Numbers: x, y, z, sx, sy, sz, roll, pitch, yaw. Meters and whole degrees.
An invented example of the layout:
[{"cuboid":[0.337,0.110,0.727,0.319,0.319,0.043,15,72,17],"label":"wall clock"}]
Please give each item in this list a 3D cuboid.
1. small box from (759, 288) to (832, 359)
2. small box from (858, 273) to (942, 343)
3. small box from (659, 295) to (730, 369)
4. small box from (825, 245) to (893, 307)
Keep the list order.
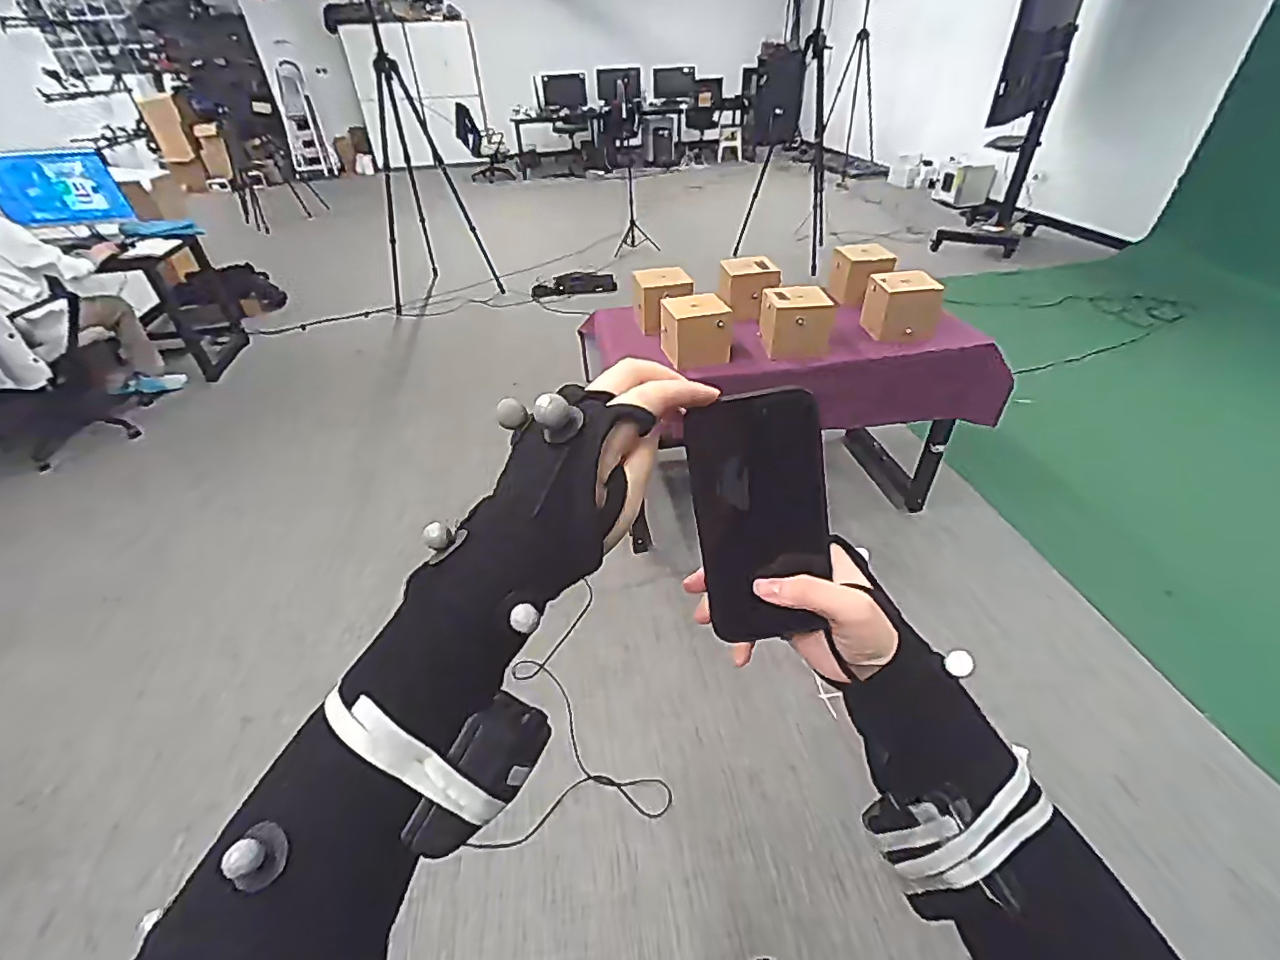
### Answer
[{"cuboid":[0.477,-0.489,1.695,0.179,0.176,0.168,-3,39,-2],"label":"small box"},{"cuboid":[0.836,-0.559,1.759,0.179,0.176,0.168,-3,38,-1],"label":"small box"},{"cuboid":[0.166,-0.456,1.675,0.179,0.176,0.168,-10,39,-11],"label":"small box"},{"cuboid":[0.802,-0.754,2.002,0.168,0.176,0.179,-6,40,-3],"label":"small box"}]
